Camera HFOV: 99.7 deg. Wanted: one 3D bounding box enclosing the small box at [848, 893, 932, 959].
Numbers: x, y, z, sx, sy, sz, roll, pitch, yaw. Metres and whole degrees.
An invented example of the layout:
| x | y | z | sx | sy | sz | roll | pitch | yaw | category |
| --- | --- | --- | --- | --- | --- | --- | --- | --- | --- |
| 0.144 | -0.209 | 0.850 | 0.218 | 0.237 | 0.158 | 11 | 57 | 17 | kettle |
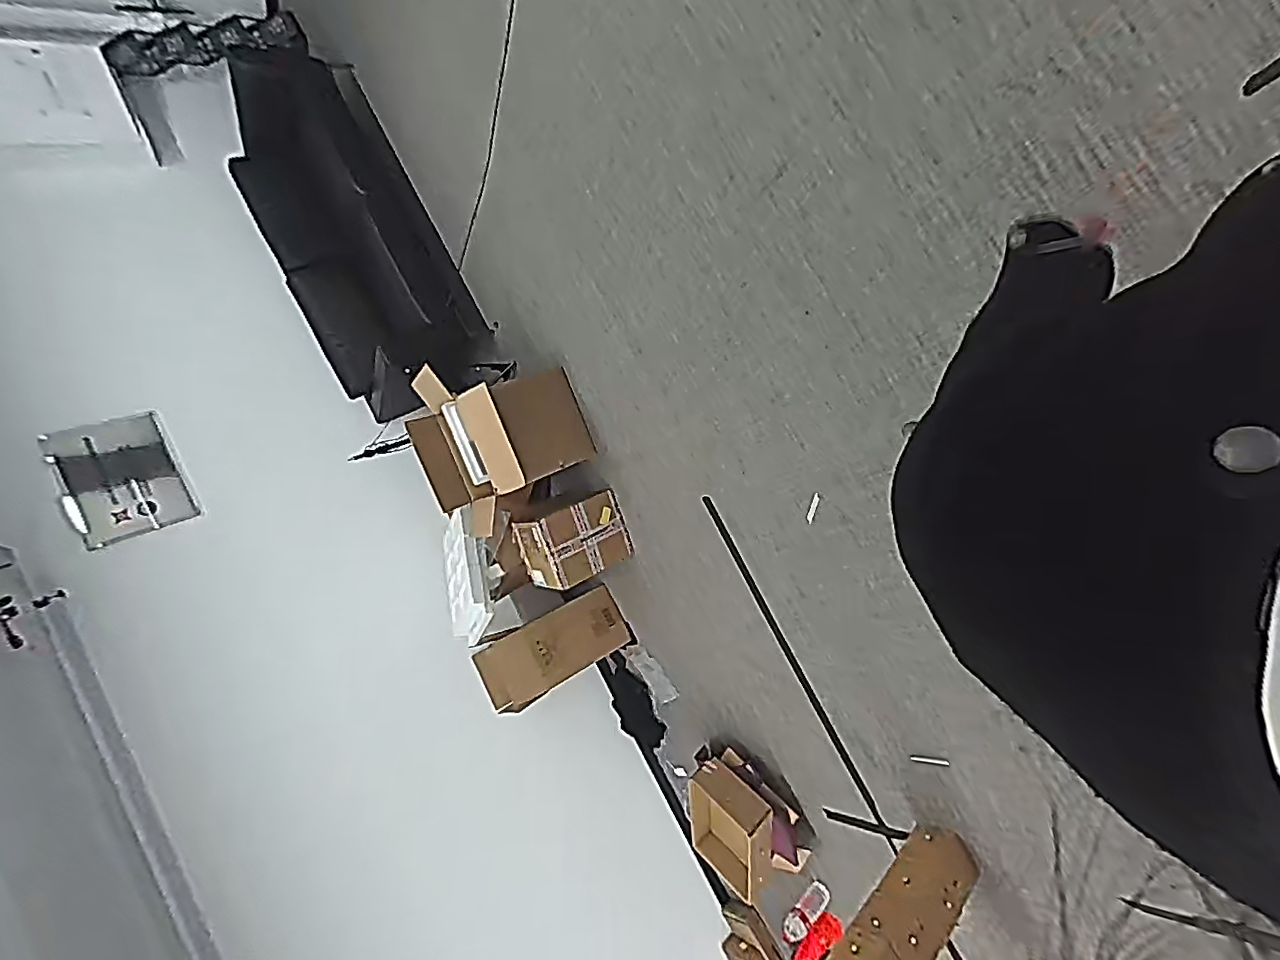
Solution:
| x | y | z | sx | sy | sz | roll | pitch | yaw | category |
| --- | --- | --- | --- | --- | --- | --- | --- | --- | --- |
| 0.849 | 1.544 | 1.819 | 0.179 | 0.176 | 0.168 | -35 | 81 | 56 | small box |

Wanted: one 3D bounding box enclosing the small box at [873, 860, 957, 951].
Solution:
| x | y | z | sx | sy | sz | roll | pitch | yaw | category |
| --- | --- | --- | --- | --- | --- | --- | --- | --- | --- |
| 0.972 | 1.488 | 1.908 | 0.179 | 0.176 | 0.168 | -33 | 84 | 55 | small box |

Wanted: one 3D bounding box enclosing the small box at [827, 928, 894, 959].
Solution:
| x | y | z | sx | sy | sz | roll | pitch | yaw | category |
| --- | --- | --- | --- | --- | --- | --- | --- | --- | --- |
| 0.723 | 1.599 | 1.730 | 0.168 | 0.176 | 0.179 | -35 | 80 | 55 | small box |

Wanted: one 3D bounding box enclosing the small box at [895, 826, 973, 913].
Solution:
| x | y | z | sx | sy | sz | roll | pitch | yaw | category |
| --- | --- | --- | --- | --- | --- | --- | --- | --- | --- |
| 1.094 | 1.435 | 2.004 | 0.168 | 0.176 | 0.179 | -33 | 83 | 55 | small box |
